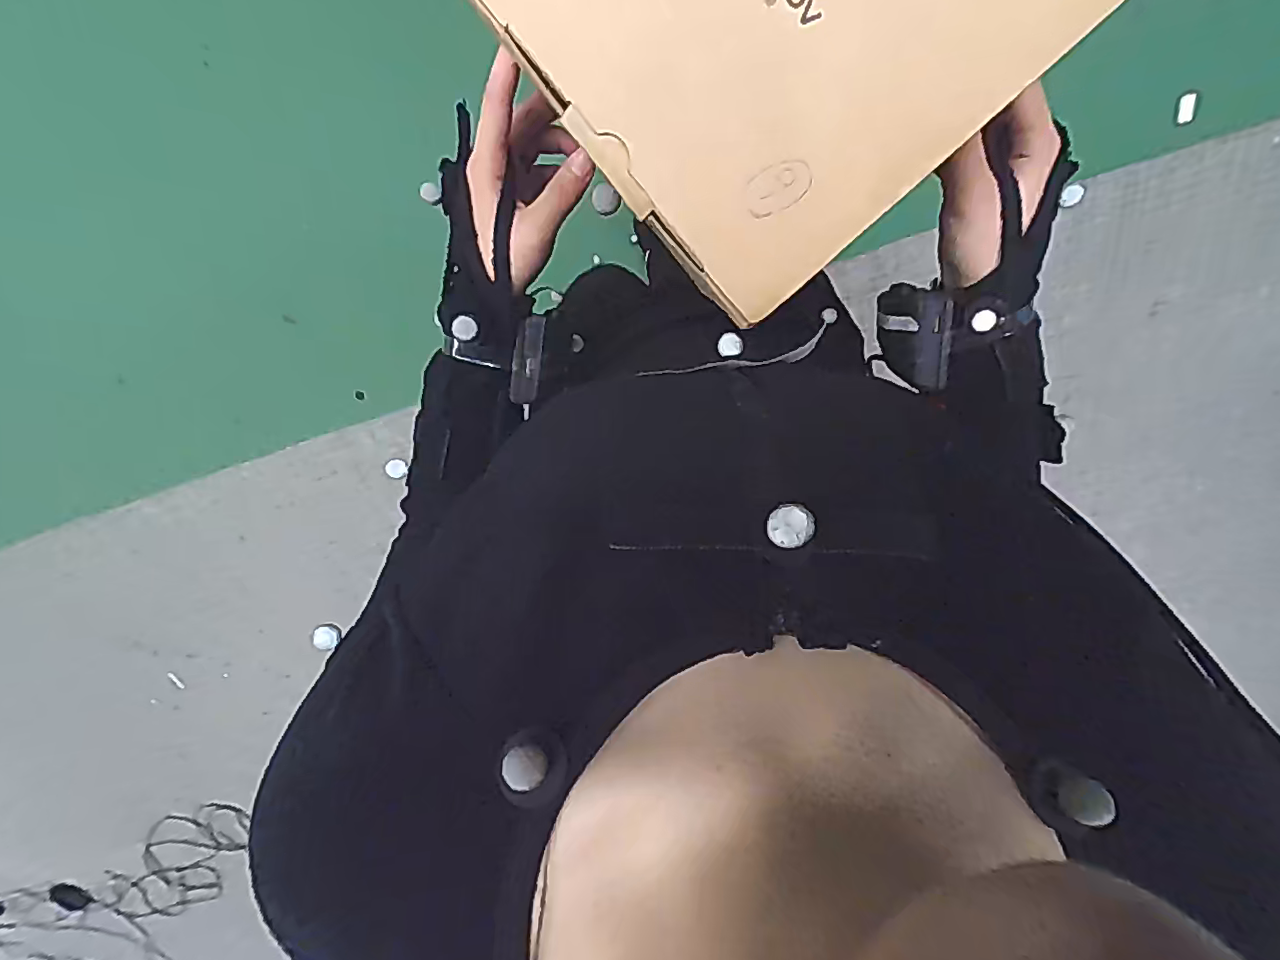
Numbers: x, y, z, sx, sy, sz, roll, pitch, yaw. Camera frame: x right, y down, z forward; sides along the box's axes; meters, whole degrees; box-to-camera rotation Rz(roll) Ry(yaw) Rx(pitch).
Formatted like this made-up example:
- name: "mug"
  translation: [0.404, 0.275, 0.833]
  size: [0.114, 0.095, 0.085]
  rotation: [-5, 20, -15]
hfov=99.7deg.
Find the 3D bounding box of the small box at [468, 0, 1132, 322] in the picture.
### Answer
- name: "small box"
  translation: [0.056, -0.201, 0.247]
  size: [0.179, 0.176, 0.168]
  rotation: [-39, 107, 17]
